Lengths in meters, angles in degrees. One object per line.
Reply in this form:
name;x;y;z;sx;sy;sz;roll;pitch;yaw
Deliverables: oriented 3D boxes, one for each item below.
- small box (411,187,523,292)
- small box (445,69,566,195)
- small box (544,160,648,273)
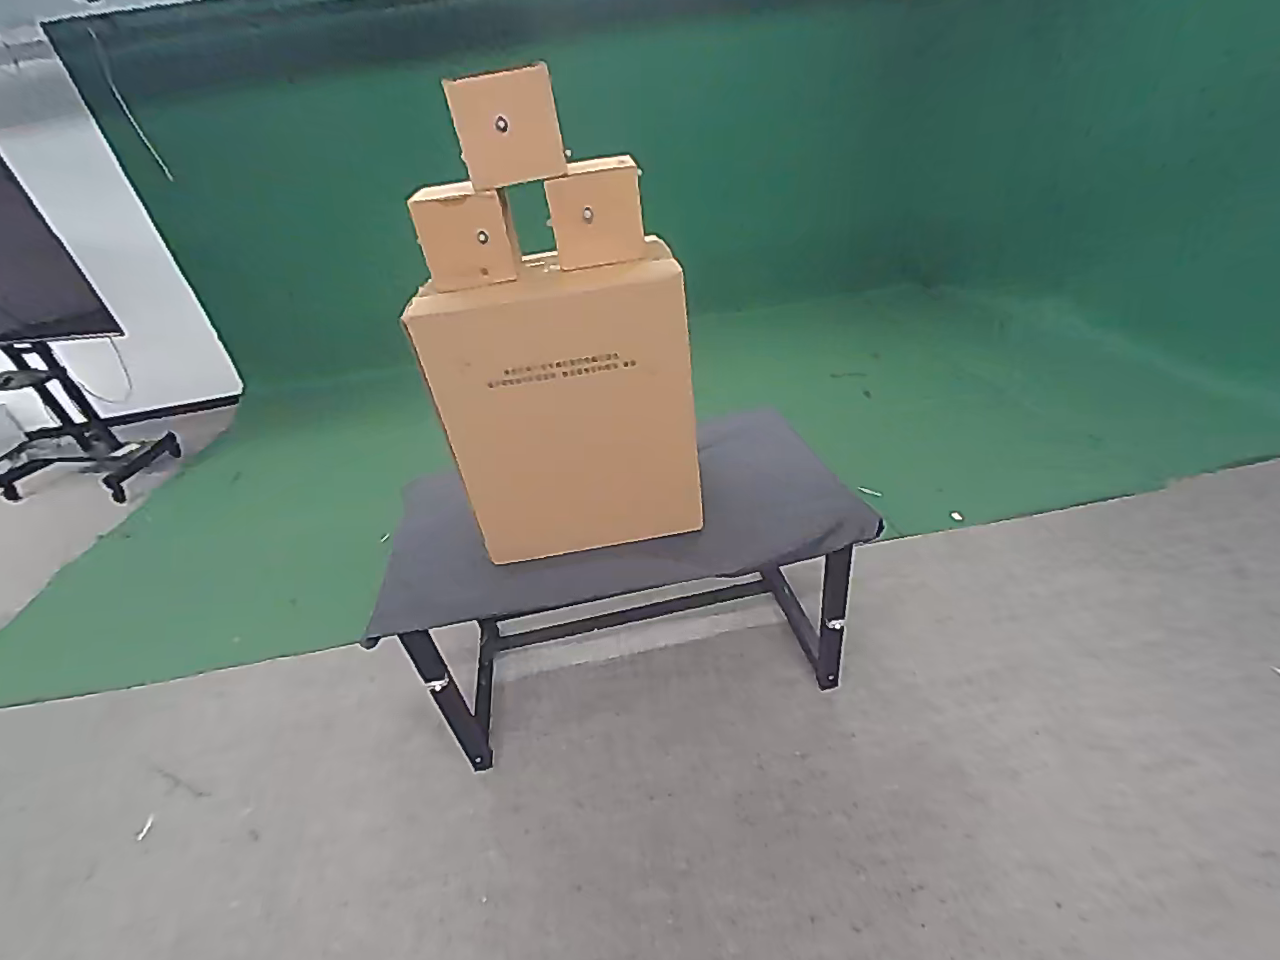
small box;-0.340;-0.491;1.101;0.168;0.176;0.179;-9;35;-3
small box;-0.237;-0.645;1.007;0.179;0.176;0.168;-12;36;-1
small box;-0.088;-0.538;1.107;0.179;0.176;0.168;-10;37;0
